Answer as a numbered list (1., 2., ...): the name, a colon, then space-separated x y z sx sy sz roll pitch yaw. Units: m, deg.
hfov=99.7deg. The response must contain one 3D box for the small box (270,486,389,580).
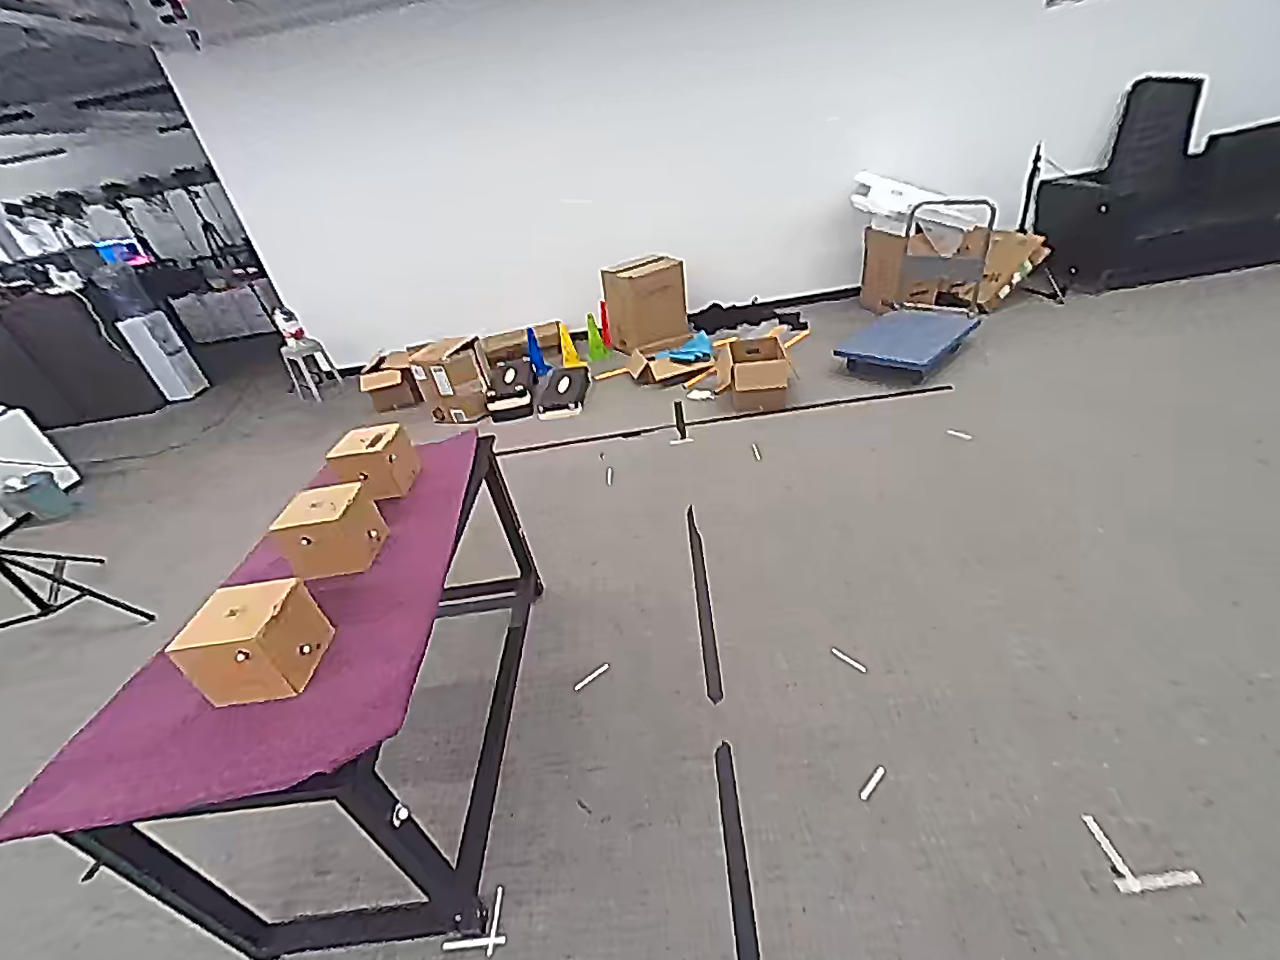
1. small box: -0.782 0.139 1.381 0.179 0.176 0.168 -9 33 3

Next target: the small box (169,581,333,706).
1. small box: -0.763 0.330 1.084 0.179 0.176 0.168 -9 32 1
